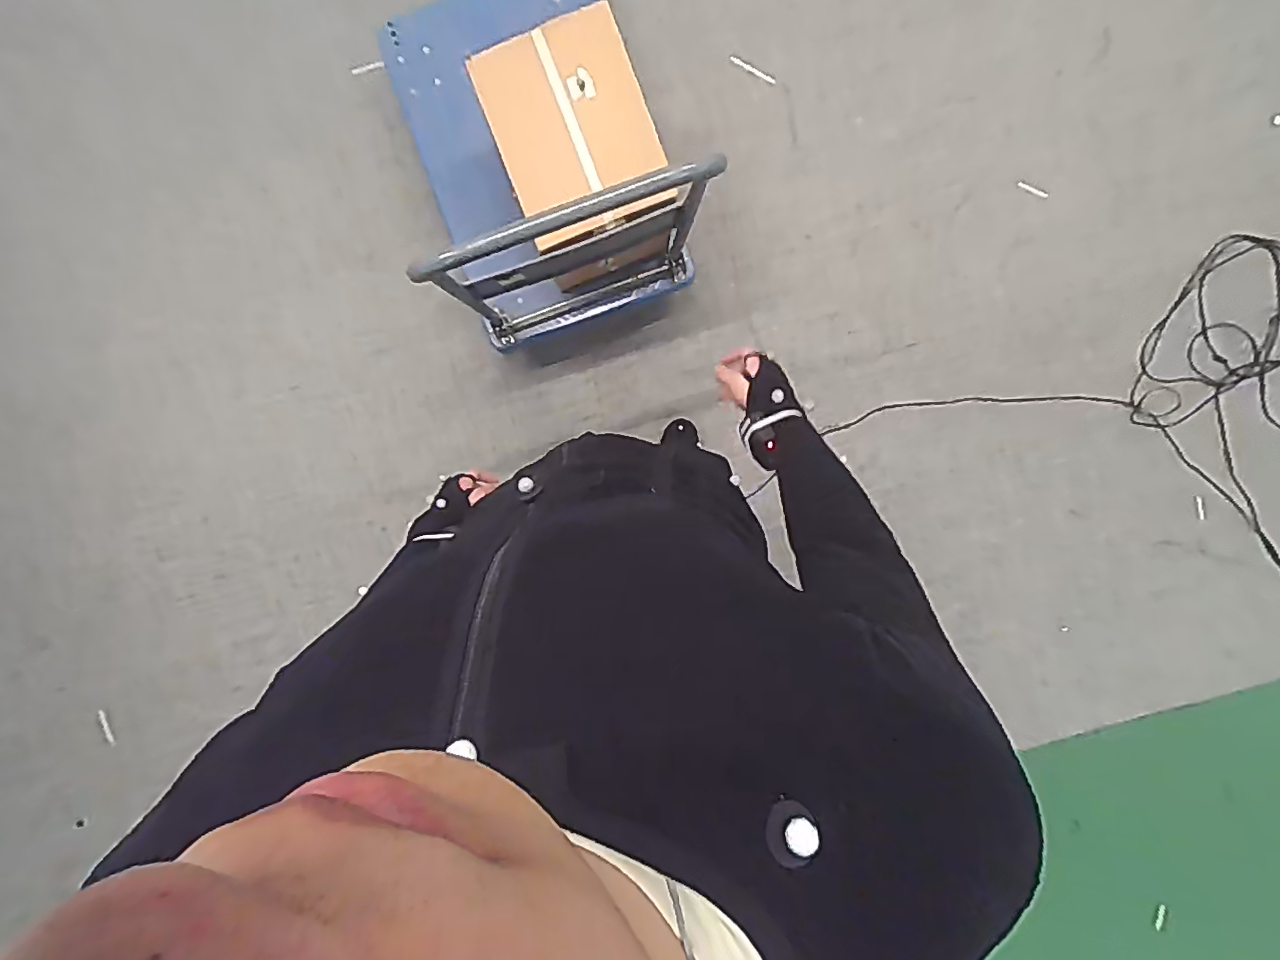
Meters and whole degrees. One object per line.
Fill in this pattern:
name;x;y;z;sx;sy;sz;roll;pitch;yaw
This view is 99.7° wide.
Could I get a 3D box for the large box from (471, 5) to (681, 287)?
large box;-0.126;-0.726;1.247;0.320;0.320;0.408;-21;94;1
